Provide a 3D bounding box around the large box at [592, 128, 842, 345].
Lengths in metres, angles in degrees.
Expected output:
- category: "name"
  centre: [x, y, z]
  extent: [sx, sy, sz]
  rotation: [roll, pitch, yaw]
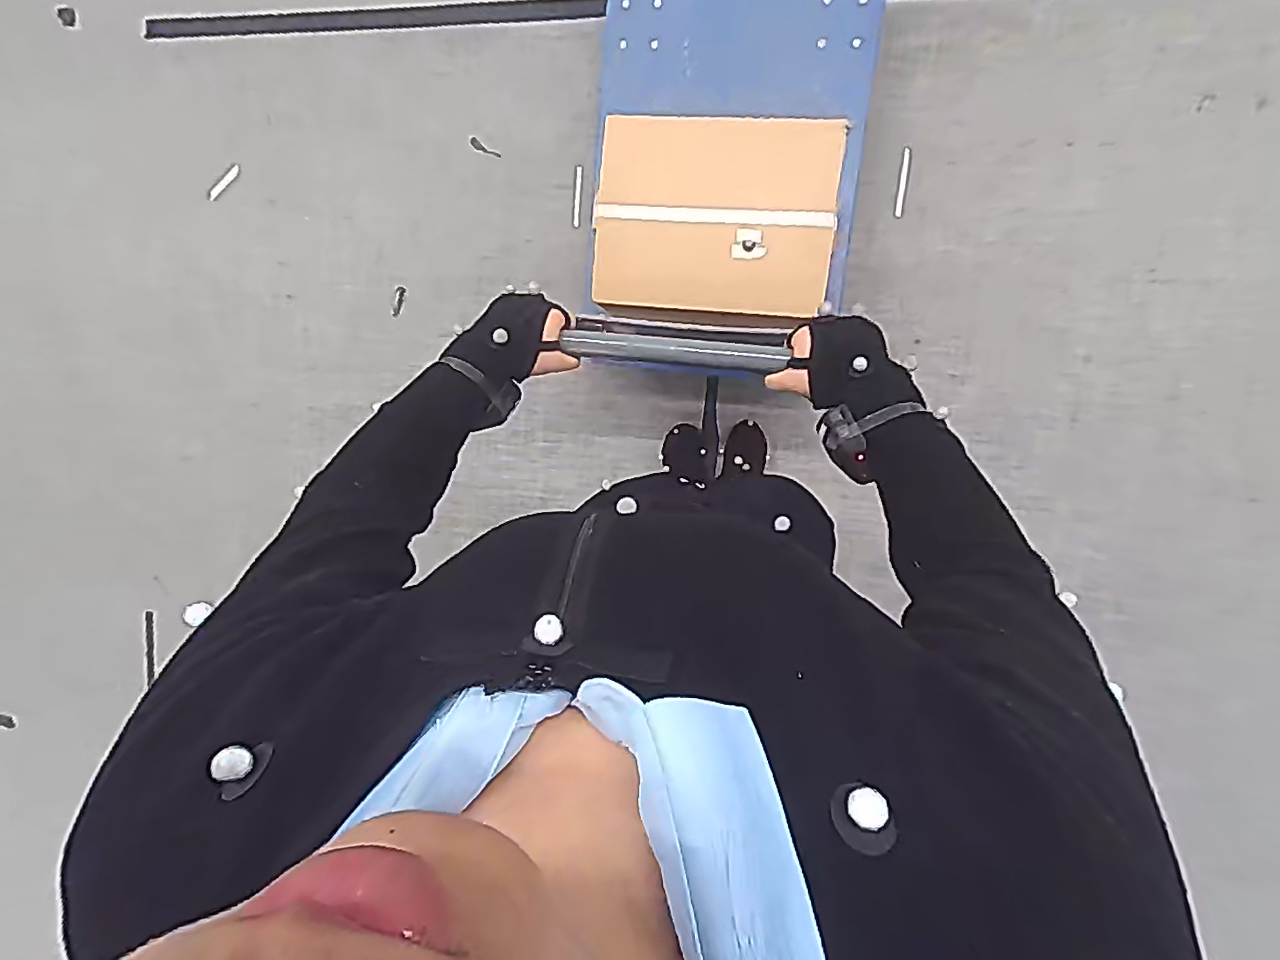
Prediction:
- category: "large box"
  centre: [0.140, -0.451, 1.065]
  extent: [0.408, 0.320, 0.320]
  rotation: [6, 99, 8]
